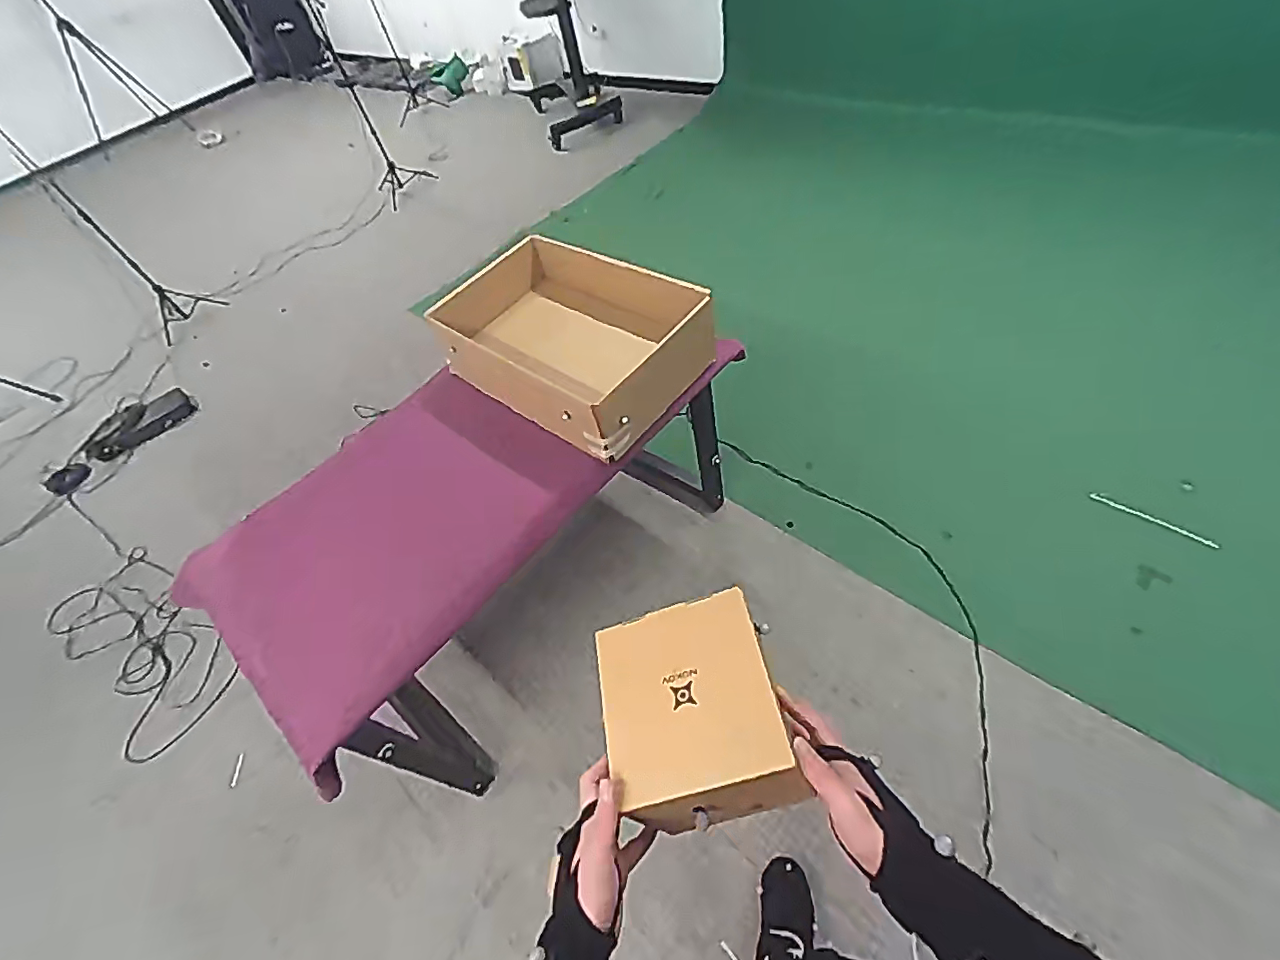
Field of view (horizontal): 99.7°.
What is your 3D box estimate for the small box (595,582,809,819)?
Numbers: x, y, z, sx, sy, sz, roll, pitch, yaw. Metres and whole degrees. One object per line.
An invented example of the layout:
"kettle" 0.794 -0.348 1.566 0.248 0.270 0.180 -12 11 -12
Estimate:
"small box" 0.067 0.242 0.575 0.168 0.176 0.179 -20 47 9
